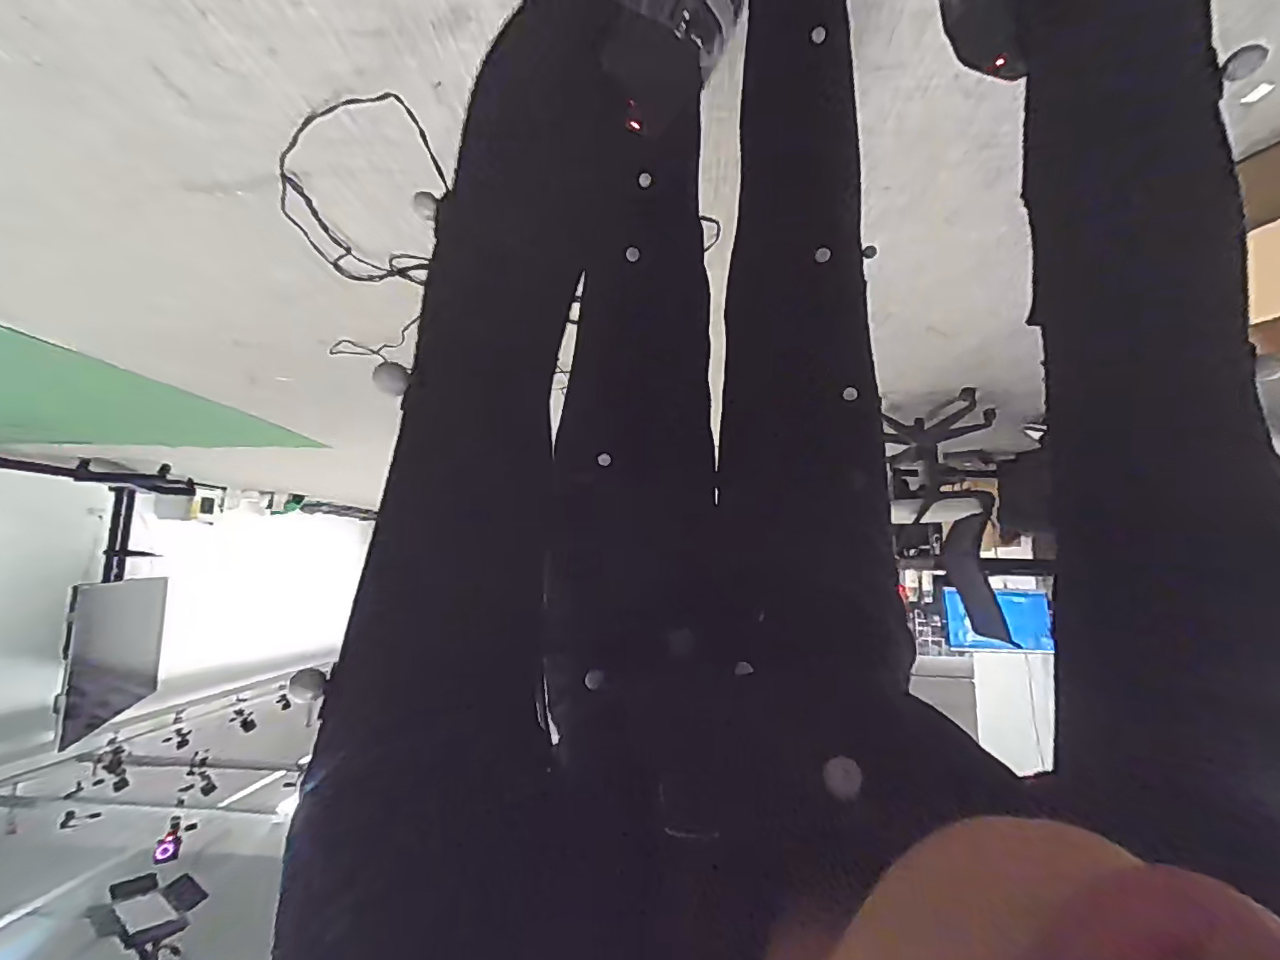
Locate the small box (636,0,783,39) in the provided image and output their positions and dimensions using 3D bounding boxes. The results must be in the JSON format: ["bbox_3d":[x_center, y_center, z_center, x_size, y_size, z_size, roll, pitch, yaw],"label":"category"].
[{"bbox_3d":[0.073,-0.620,0.565,0.168,0.176,0.179,-8,174,-2],"label":"small box"}]
